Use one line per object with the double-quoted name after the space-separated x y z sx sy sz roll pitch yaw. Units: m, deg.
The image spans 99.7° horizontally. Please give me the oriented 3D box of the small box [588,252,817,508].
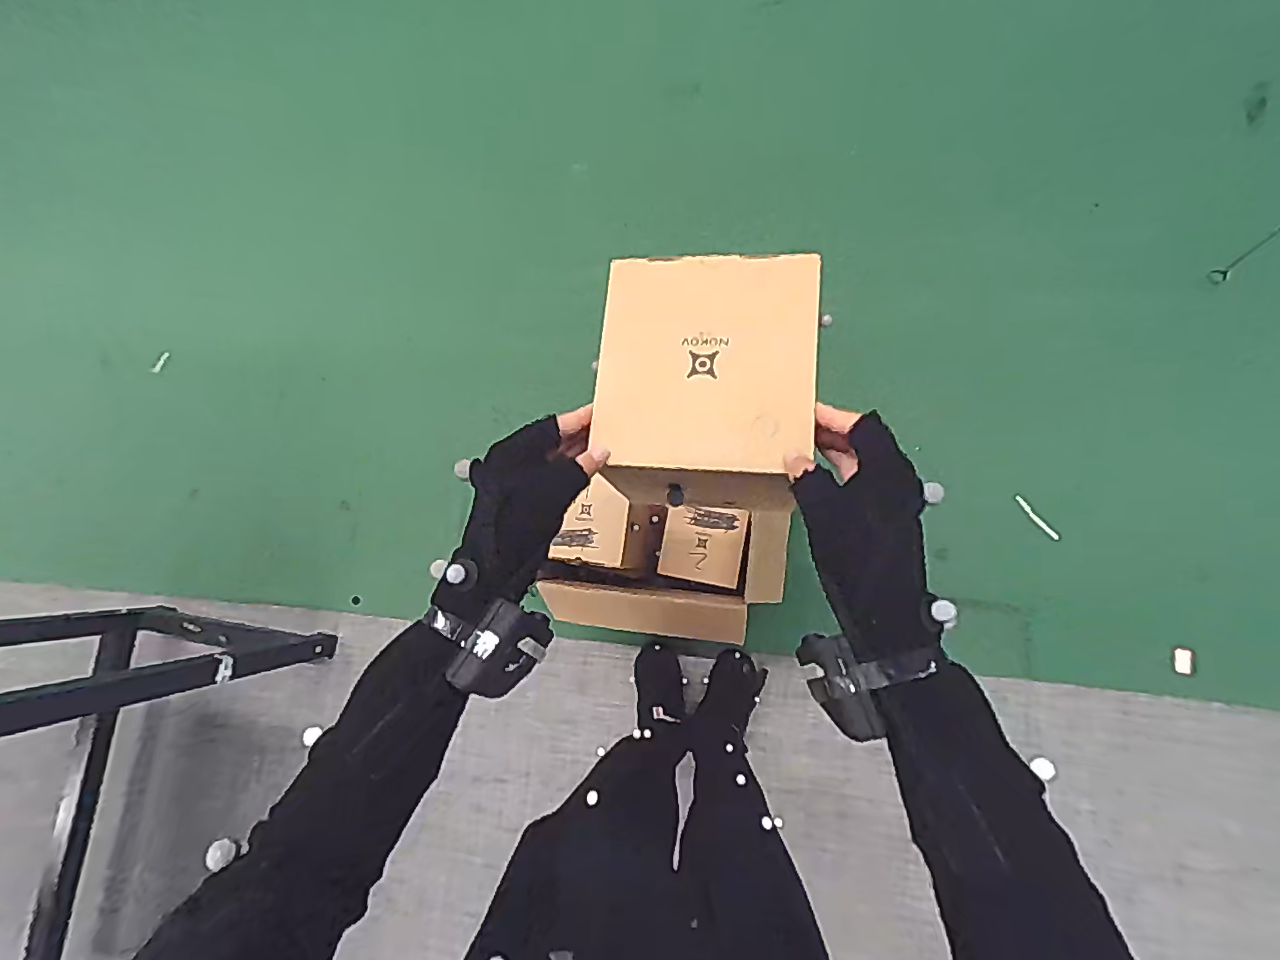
0.063 -0.075 0.486 0.168 0.176 0.179 3 77 12 "small box"
